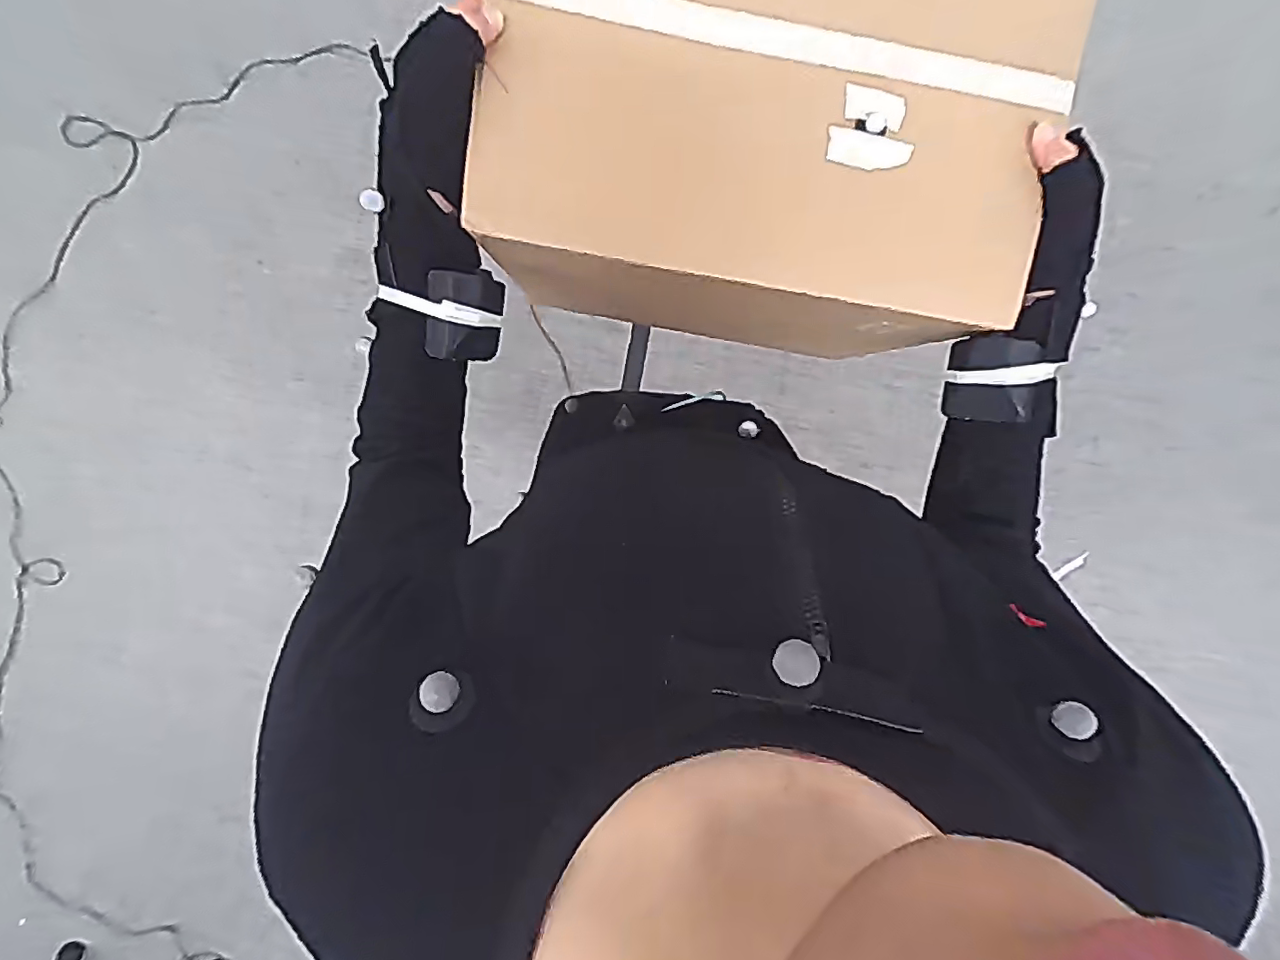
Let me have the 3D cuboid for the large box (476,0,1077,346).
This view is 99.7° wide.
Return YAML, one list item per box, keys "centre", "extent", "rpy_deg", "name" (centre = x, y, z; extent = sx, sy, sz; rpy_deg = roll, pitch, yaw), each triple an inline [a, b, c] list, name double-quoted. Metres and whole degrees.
- centre: [0.090, -0.326, 0.521]
  extent: [0.408, 0.320, 0.320]
  rpy_deg: [9, 99, -5]
  name: "large box"
